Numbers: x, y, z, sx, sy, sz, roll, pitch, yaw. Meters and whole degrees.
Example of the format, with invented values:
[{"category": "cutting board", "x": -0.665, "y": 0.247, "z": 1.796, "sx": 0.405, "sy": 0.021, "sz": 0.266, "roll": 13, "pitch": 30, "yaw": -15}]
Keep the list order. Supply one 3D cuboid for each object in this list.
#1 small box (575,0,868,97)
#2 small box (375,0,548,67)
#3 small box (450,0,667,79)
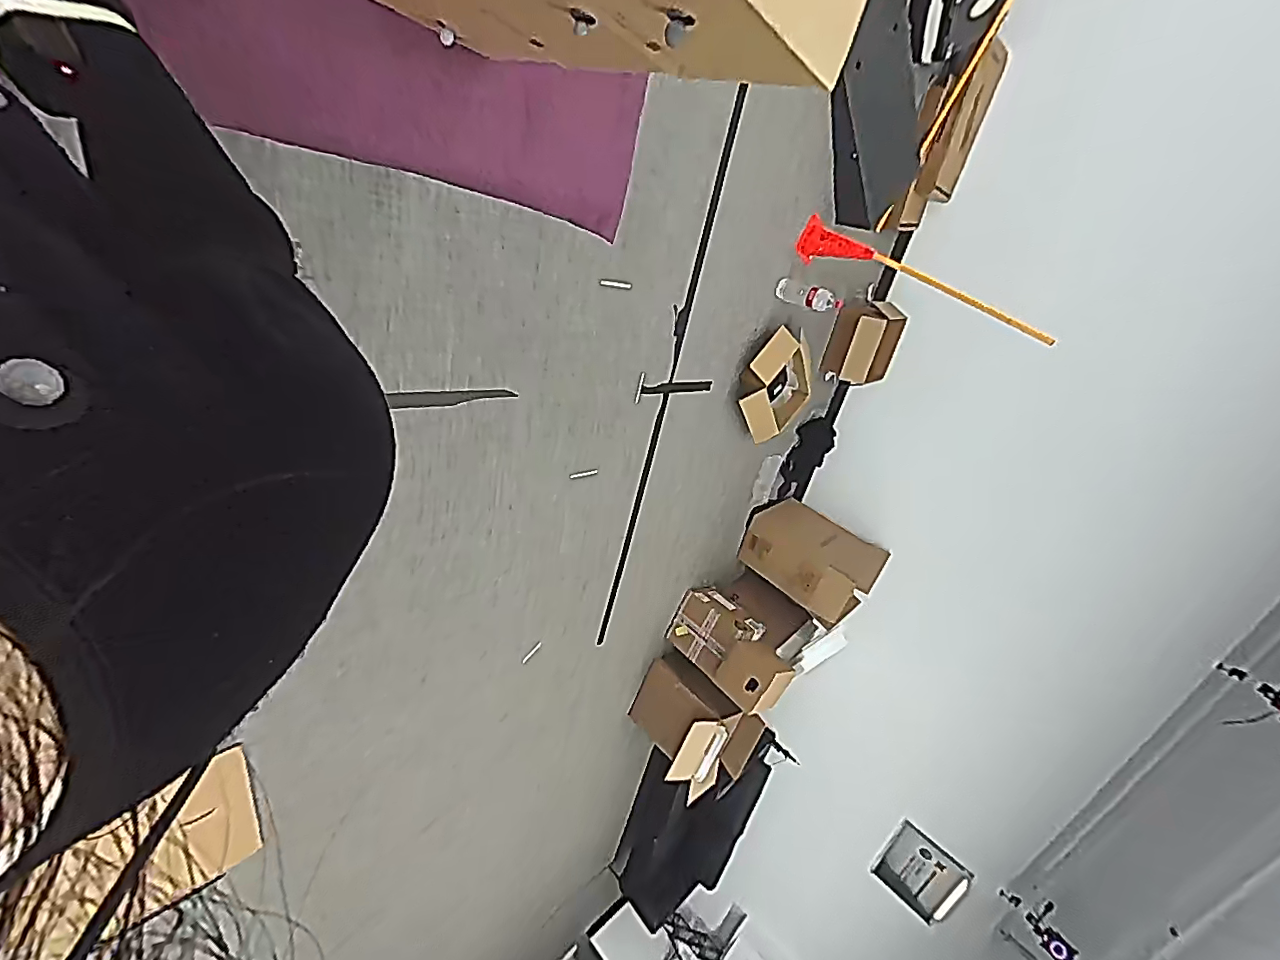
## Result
[{"category": "small box", "x": 0.061, "y": -0.401, "z": 0.374, "sx": 0.168, "sy": 0.176, "sz": 0.179, "roll": -7, "pitch": 122, "yaw": -47}, {"category": "small box", "x": -0.163, "y": -0.559, "z": 0.553, "sx": 0.168, "sy": 0.176, "sz": 0.179, "roll": -10, "pitch": 125, "yaw": -46}, {"category": "small box", "x": -0.051, "y": -0.481, "z": 0.463, "sx": 0.168, "sy": 0.176, "sz": 0.179, "roll": -7, "pitch": 122, "yaw": -48}]
